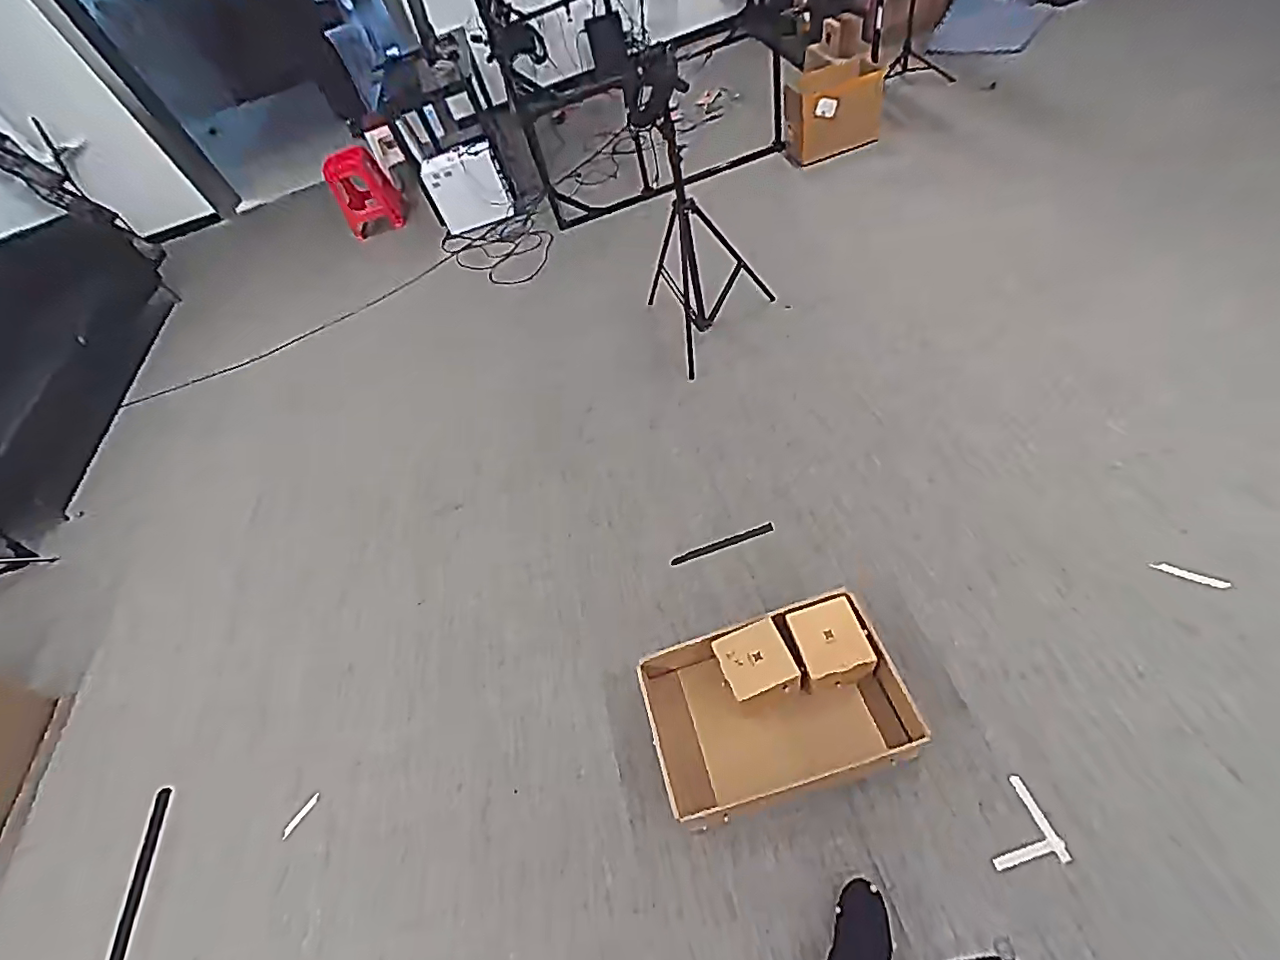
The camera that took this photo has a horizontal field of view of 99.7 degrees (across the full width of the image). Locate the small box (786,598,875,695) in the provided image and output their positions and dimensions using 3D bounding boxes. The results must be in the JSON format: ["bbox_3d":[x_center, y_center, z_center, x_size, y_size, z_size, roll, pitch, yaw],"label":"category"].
[{"bbox_3d":[0.494,0.442,1.428,0.168,0.176,0.179,-20,54,3],"label":"small box"}]
